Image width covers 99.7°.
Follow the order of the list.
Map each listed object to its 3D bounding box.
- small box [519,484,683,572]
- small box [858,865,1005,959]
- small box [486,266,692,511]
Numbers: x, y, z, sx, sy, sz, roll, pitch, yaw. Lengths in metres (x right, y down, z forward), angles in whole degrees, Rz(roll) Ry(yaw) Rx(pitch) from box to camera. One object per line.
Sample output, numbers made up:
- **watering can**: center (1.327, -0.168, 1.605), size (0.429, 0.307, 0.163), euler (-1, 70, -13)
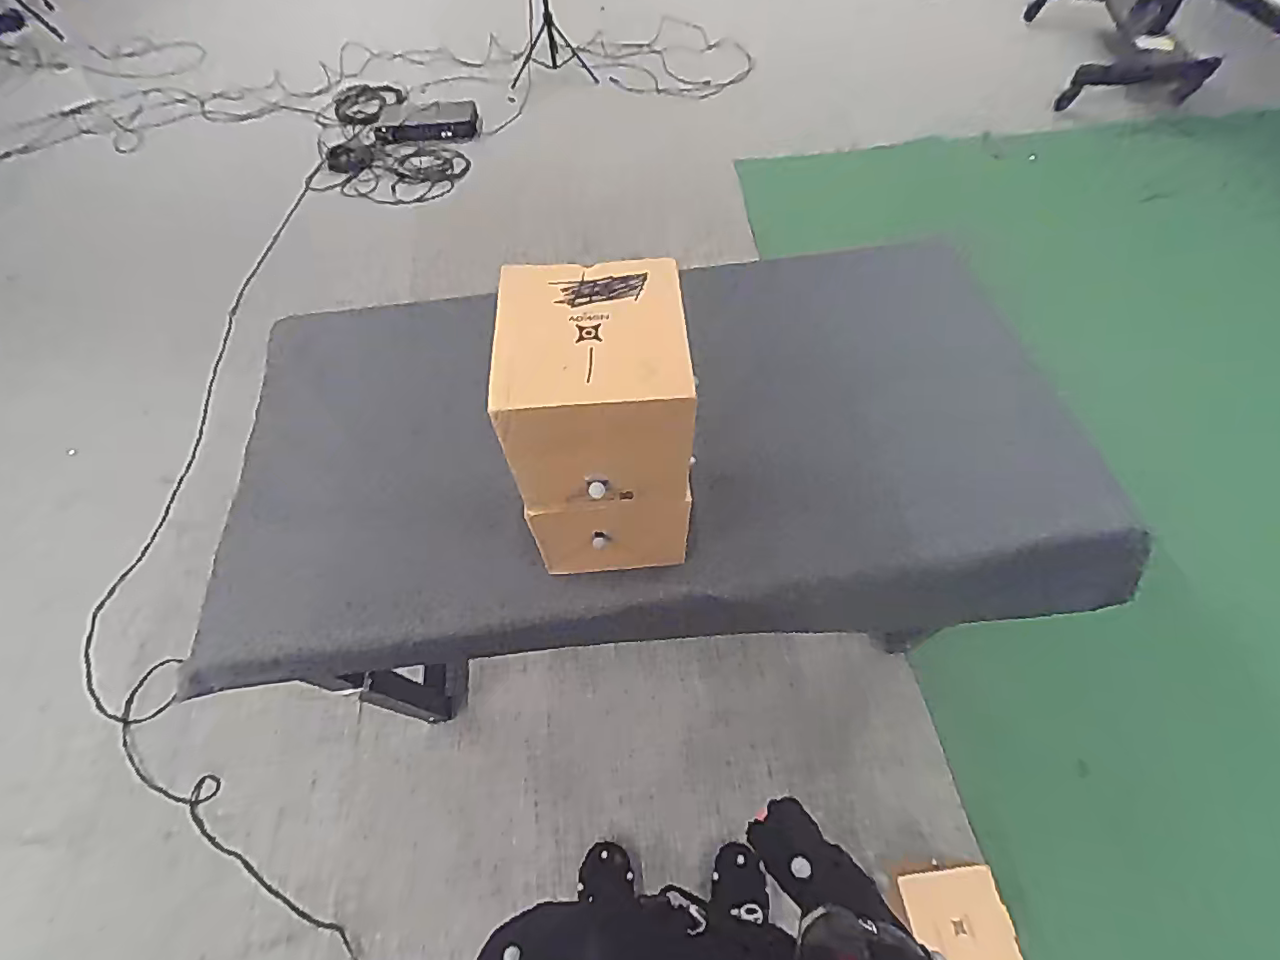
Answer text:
- **small box**: center (-0.042, 0.007, 0.673), size (0.179, 0.176, 0.168), euler (-4, 58, -1)
- **small box**: center (0.540, 0.837, 1.015), size (0.179, 0.176, 0.168), euler (-7, 58, -1)
- **small box**: center (-0.043, -0.086, 0.536), size (0.168, 0.176, 0.179), euler (-3, 59, -1)
